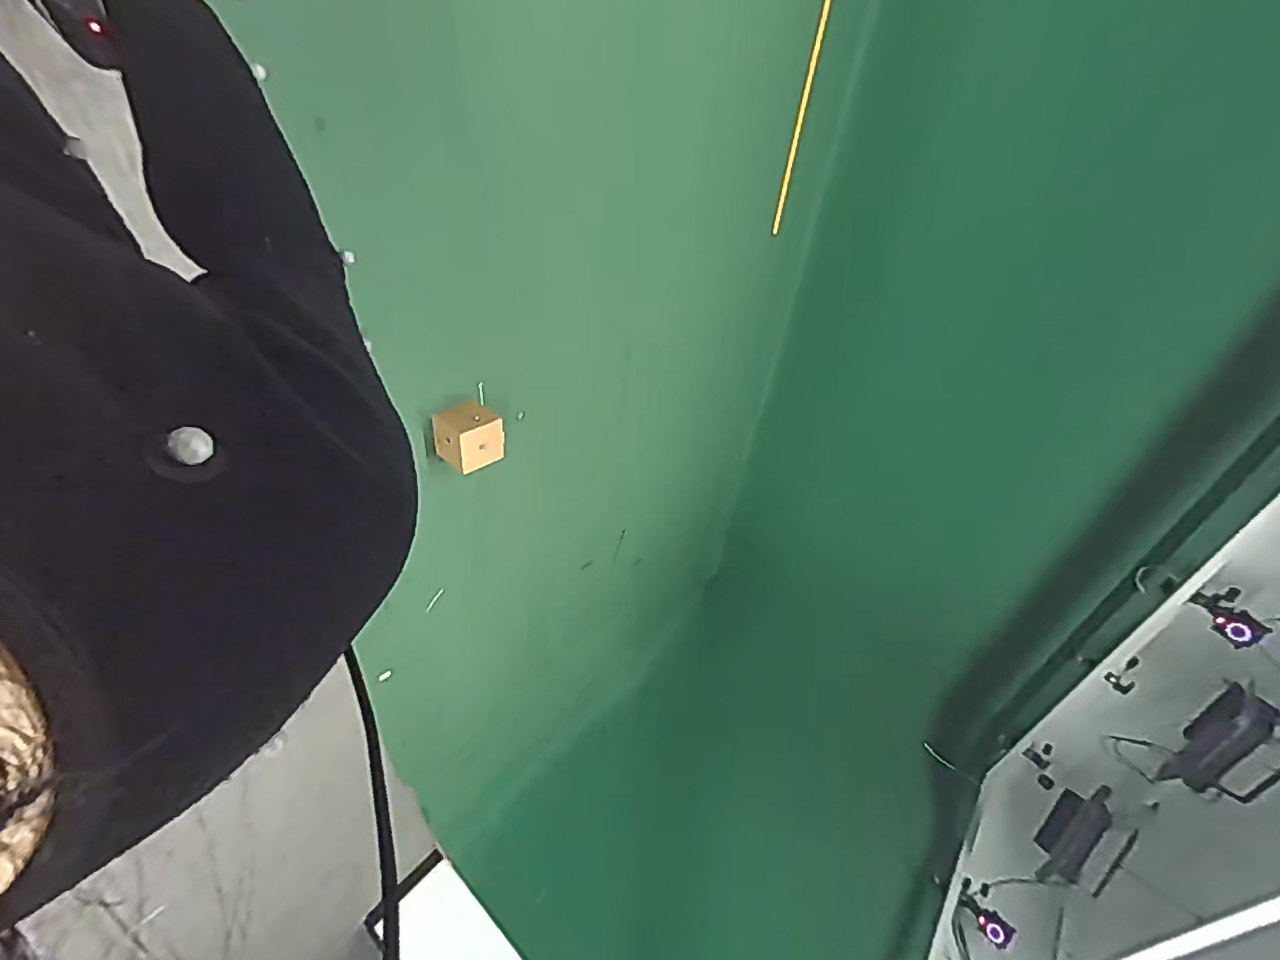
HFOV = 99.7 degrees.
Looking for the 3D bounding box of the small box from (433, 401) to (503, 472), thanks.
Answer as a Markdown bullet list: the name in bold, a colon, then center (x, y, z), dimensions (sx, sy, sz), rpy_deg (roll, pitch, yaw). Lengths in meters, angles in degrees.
- **small box**: center (-0.607, -0.157, 1.898), dimensions (0.179, 0.176, 0.168), rpy_deg (-31, 141, -41)
